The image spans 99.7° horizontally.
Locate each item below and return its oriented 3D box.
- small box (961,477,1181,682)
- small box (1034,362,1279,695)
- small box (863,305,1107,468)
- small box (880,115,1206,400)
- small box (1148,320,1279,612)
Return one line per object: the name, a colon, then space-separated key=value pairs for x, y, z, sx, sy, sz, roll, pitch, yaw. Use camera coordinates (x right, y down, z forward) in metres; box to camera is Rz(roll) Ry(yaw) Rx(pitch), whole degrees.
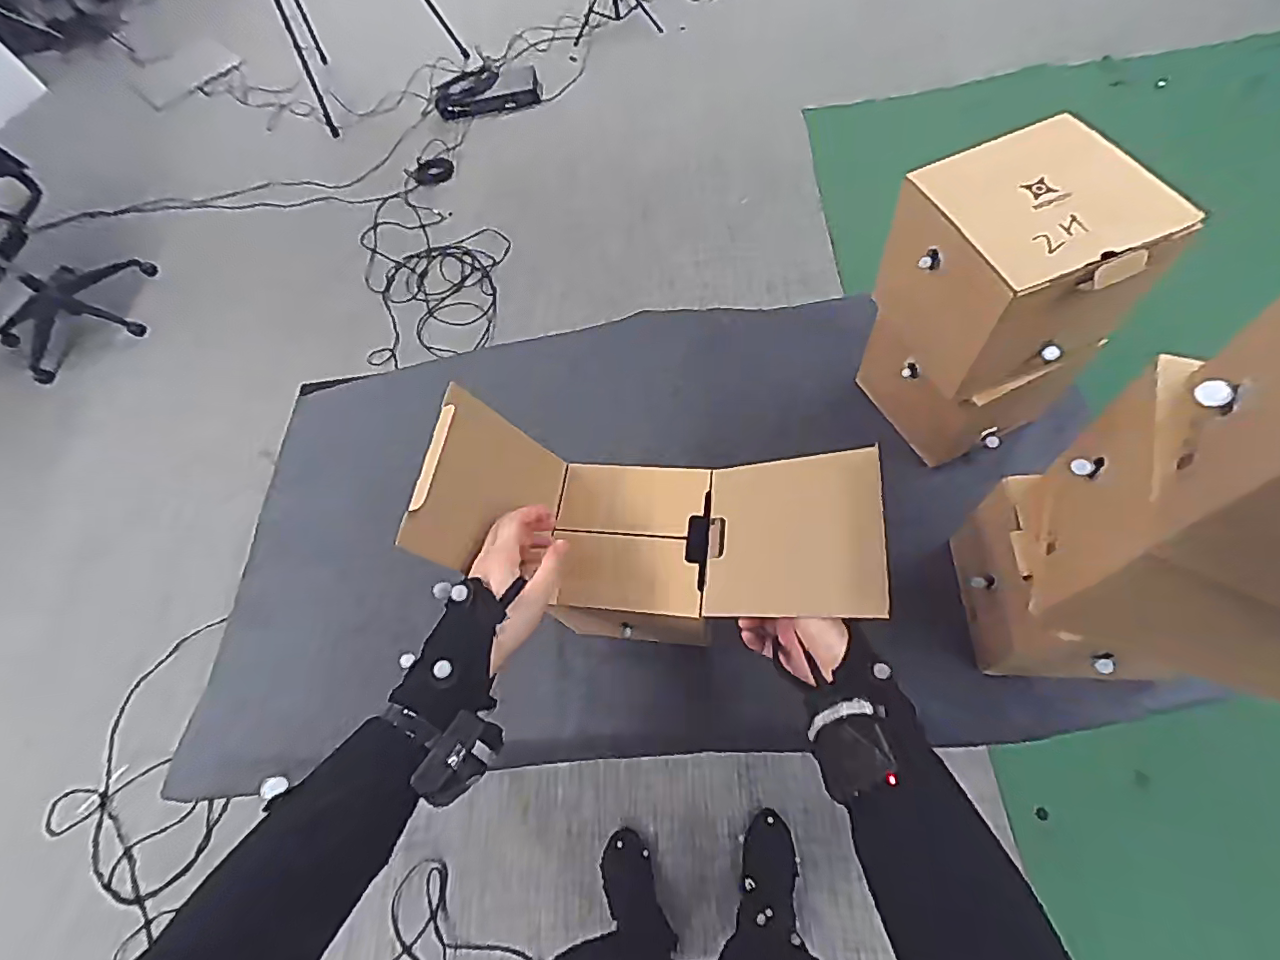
small box: x=0.456 y=0.108 z=0.555 sx=0.179 sy=0.176 sz=0.168 roll=-2 pitch=61 yaw=10
small box: x=0.435 y=0.044 z=0.406 sx=0.179 sy=0.176 sz=0.168 roll=18 pitch=65 yaw=18
small box: x=0.414 y=-0.146 z=0.692 sx=0.168 sy=0.176 sz=0.179 roll=-26 pitch=64 yaw=-1
small box: x=0.371 y=-0.214 z=0.547 sx=0.168 sy=0.176 sz=0.179 roll=-21 pitch=63 yaw=2
small box: x=0.409 y=-0.015 z=0.252 sx=0.179 sy=0.176 sz=0.168 roll=28 pitch=69 yaw=23
